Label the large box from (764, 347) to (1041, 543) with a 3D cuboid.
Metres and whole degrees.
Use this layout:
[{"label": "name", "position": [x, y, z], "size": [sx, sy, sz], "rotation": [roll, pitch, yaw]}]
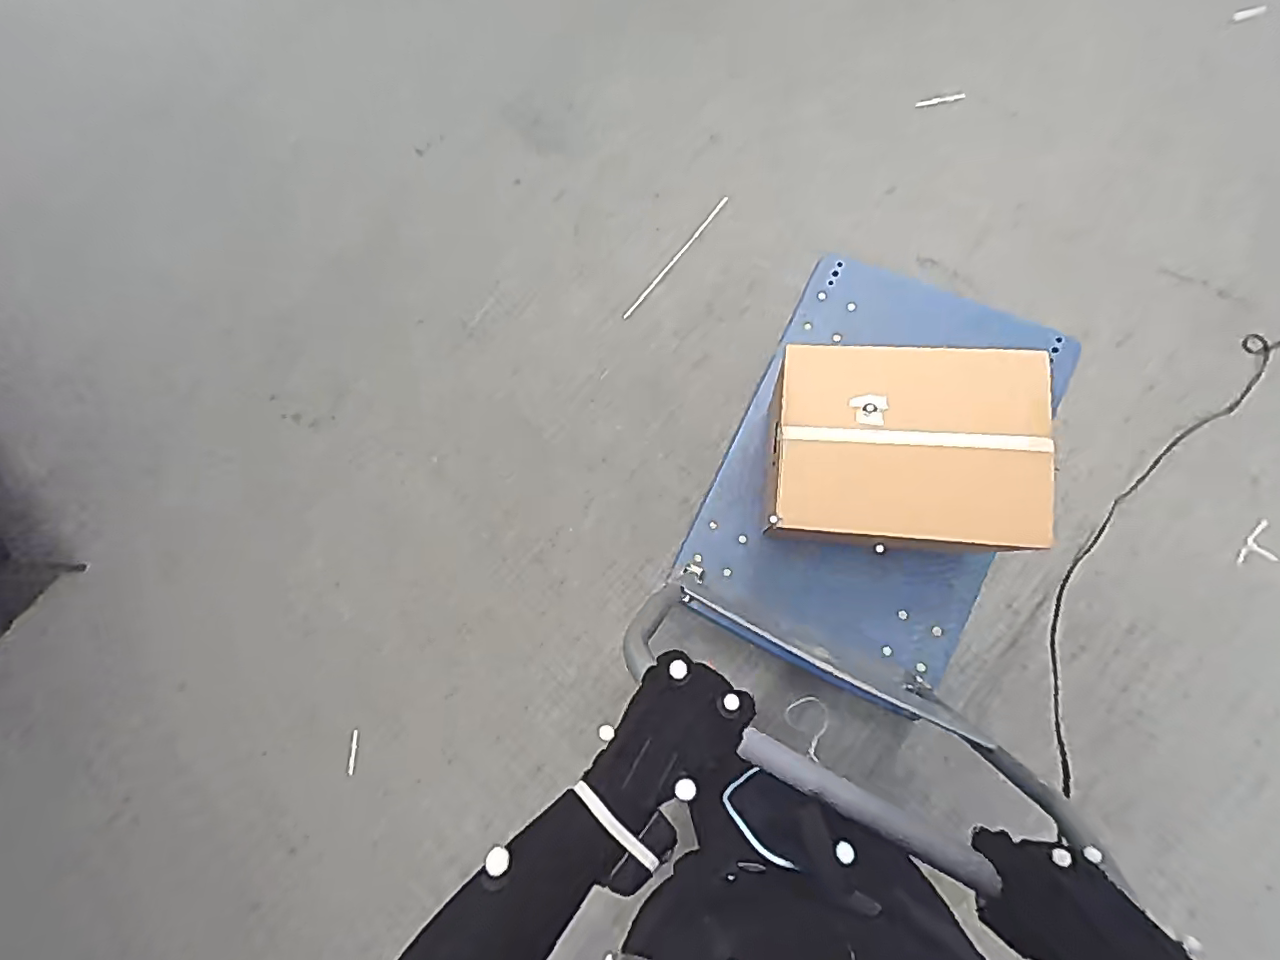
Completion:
[{"label": "large box", "position": [0.453, -0.047, 1.020], "size": [0.408, 0.320, 0.320], "rotation": [3, 81, 11]}]
